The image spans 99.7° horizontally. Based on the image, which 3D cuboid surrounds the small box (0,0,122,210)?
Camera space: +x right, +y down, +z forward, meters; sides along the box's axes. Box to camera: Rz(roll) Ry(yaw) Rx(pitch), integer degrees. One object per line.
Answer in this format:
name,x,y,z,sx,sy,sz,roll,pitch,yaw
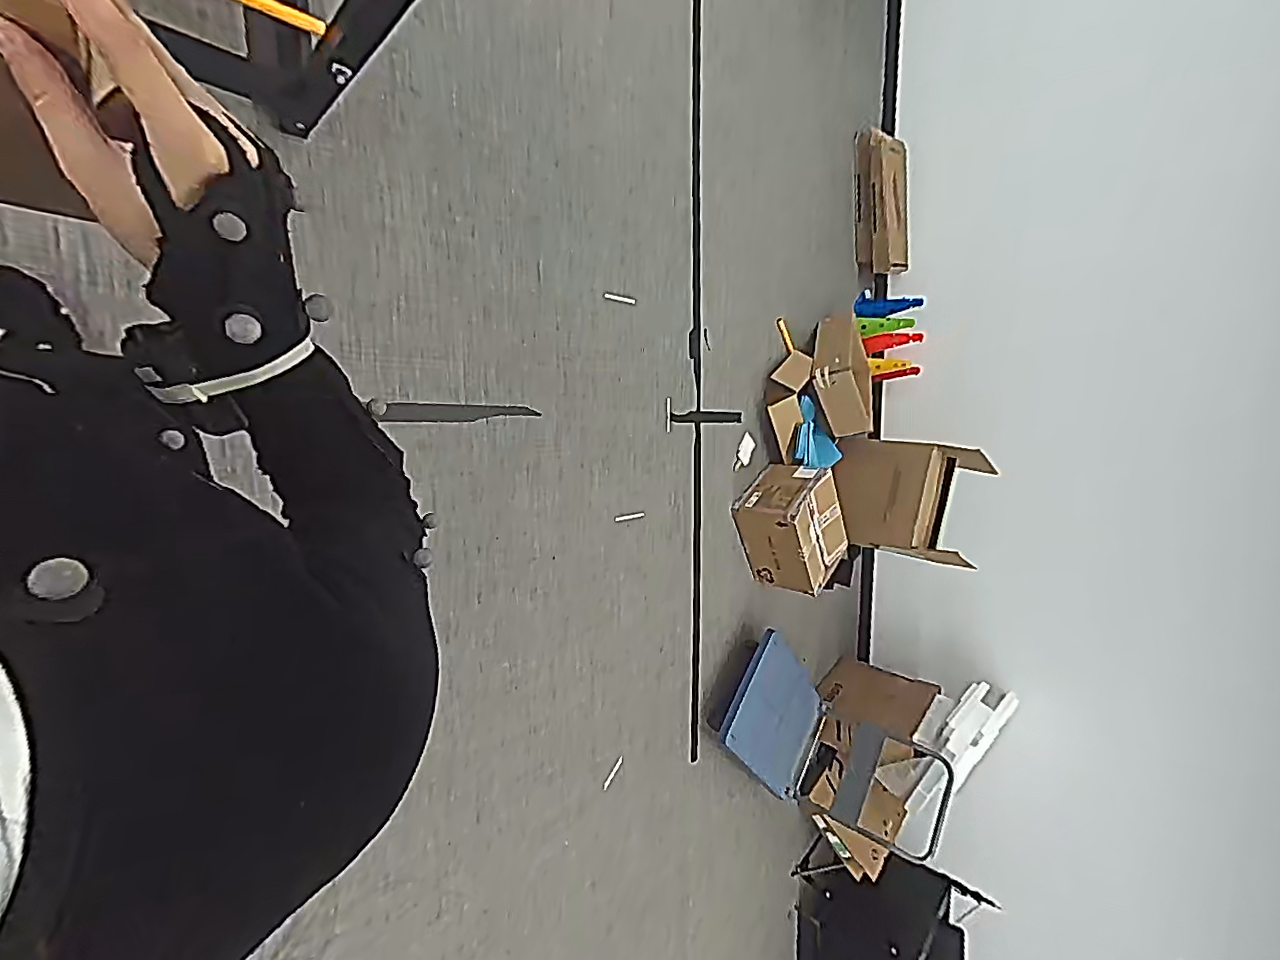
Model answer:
small box,-0.343,-0.255,0.232,0.168,0.176,0.179,-1,80,-41
